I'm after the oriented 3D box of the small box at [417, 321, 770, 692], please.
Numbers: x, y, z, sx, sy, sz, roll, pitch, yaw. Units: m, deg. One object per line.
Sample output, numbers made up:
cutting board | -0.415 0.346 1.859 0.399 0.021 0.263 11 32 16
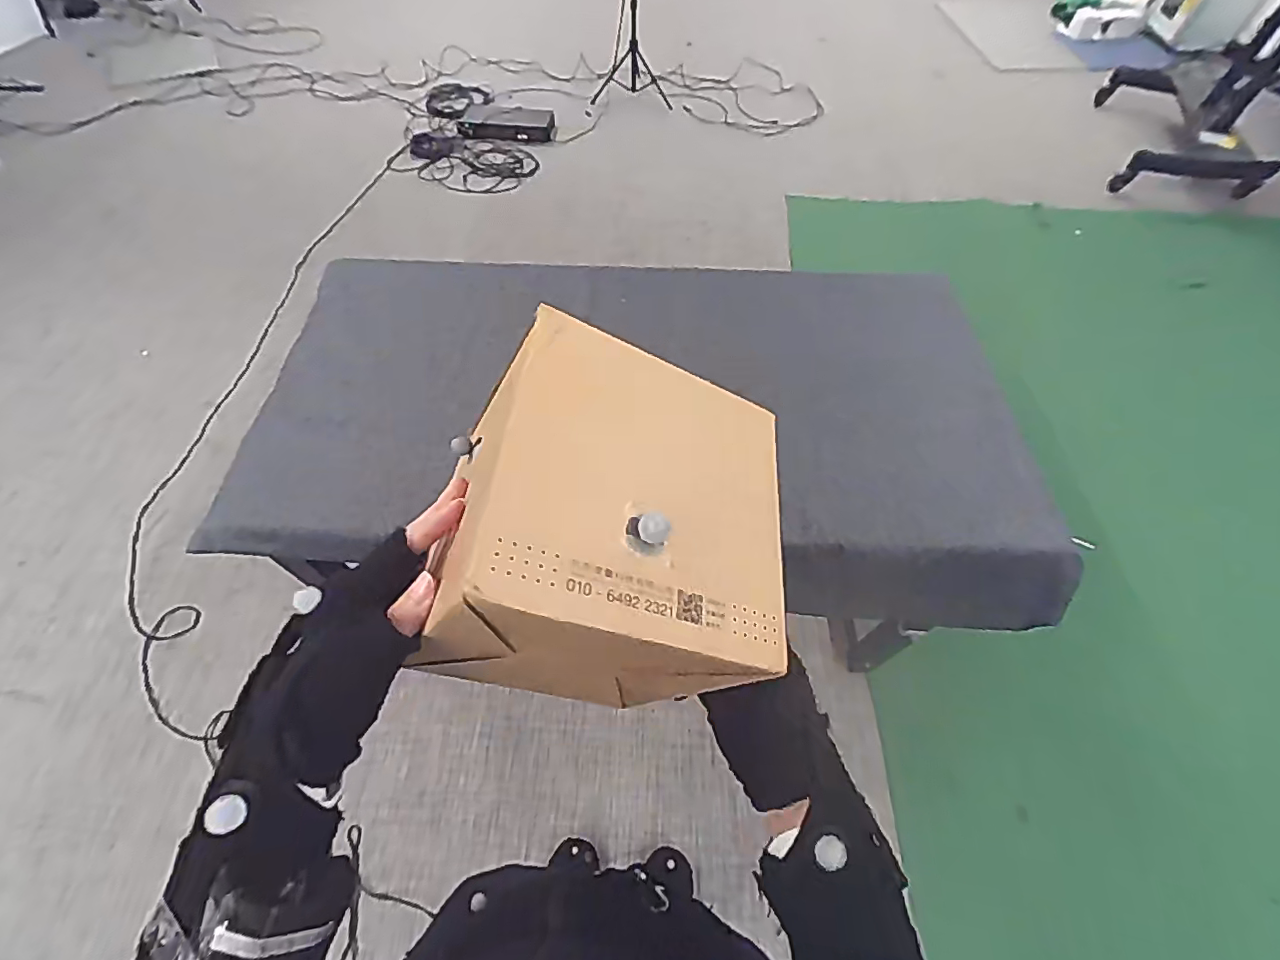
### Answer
small box | -0.033 0.038 0.361 0.168 0.179 0.176 20 56 -23
